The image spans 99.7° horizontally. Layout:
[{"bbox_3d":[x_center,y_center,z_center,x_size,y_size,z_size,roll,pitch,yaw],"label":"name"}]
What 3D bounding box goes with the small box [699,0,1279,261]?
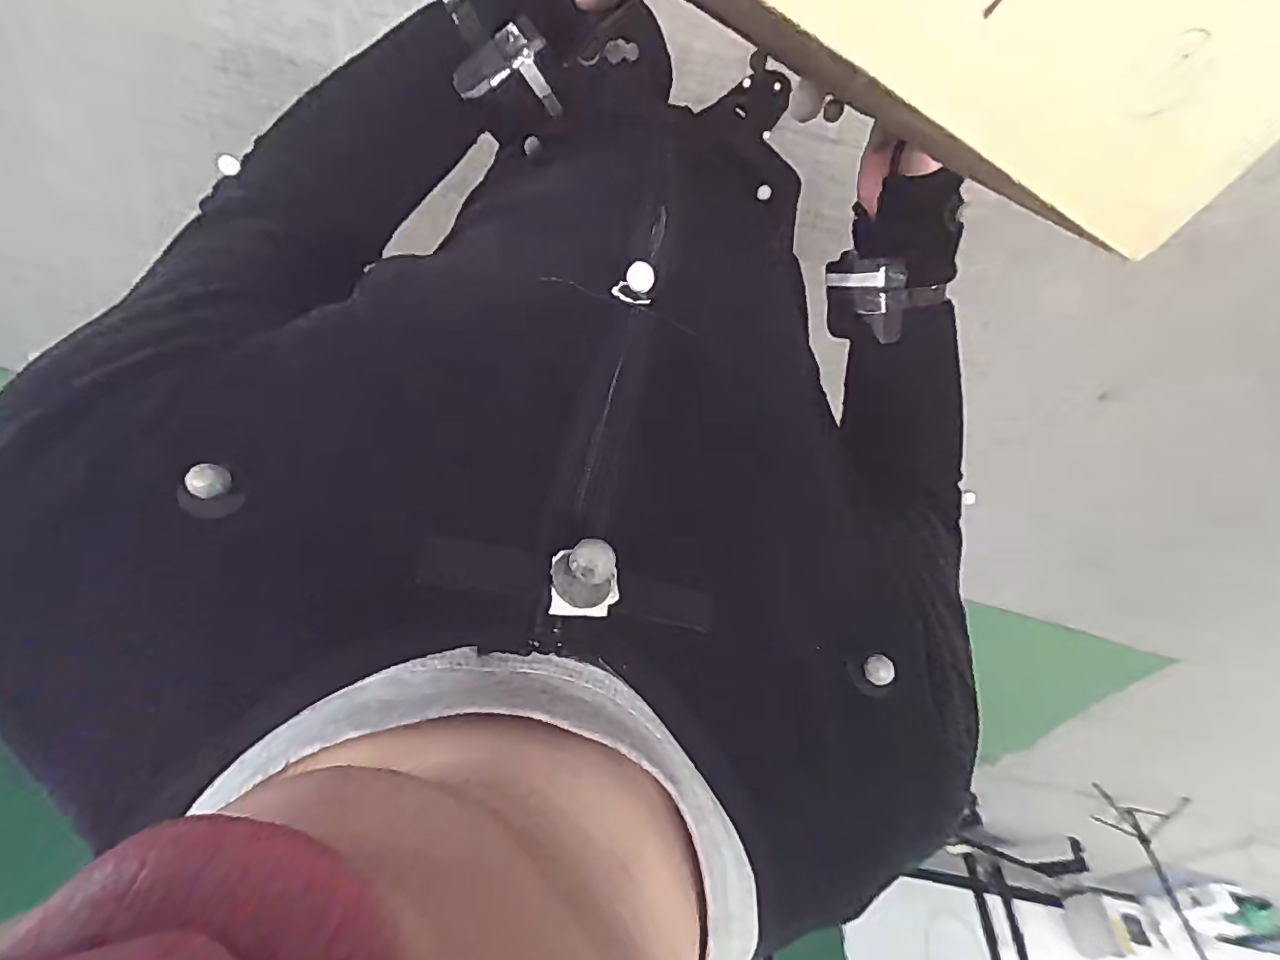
[{"bbox_3d":[0.115,-0.202,0.147,0.168,0.176,0.179,23,129,-13],"label":"small box"}]
